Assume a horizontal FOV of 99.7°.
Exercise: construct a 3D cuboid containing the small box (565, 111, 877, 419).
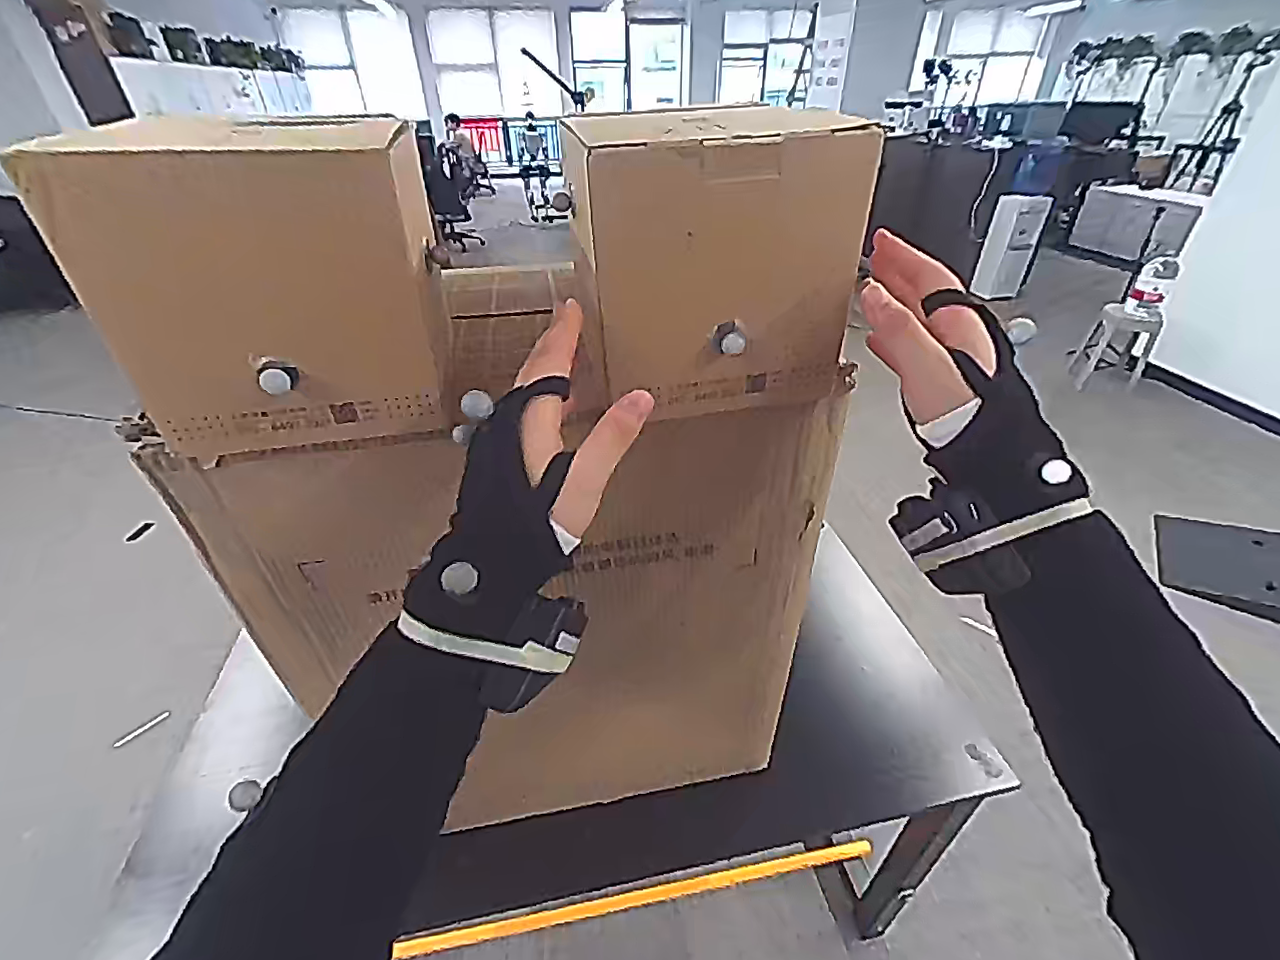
[{"bbox_3d":[0.039,-0.164,0.401,0.168,0.176,0.179,-9,38,-7],"label":"small box"}]
